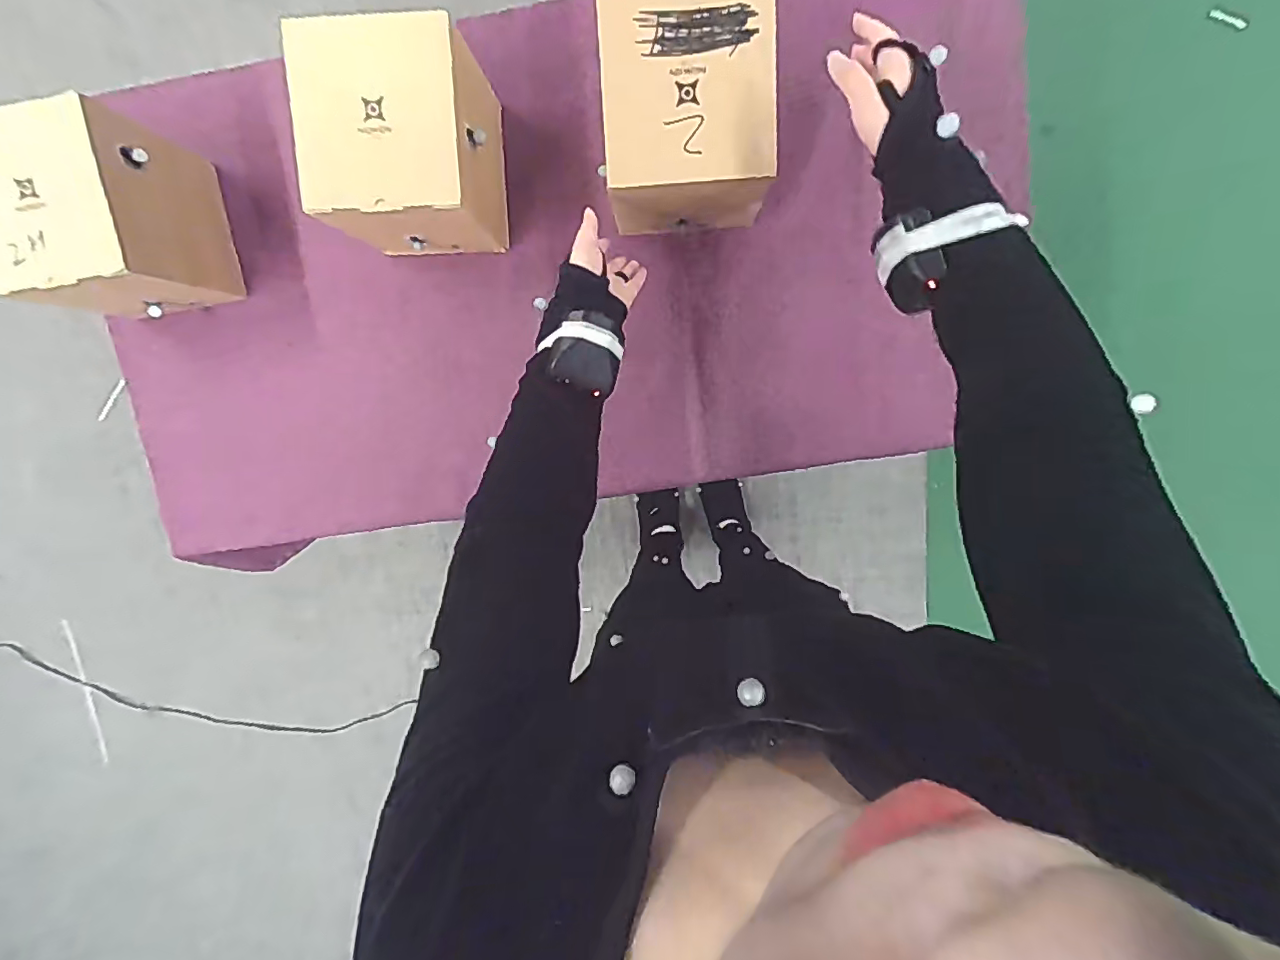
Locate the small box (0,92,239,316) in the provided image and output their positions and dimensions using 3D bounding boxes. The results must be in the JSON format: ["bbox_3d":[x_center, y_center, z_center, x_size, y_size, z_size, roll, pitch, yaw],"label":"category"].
[{"bbox_3d":[-0.621,-0.303,0.631,0.168,0.176,0.179,-8,99,4],"label":"small box"}]

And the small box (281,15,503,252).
[{"bbox_3d":[-0.260,-0.369,0.608,0.168,0.176,0.179,0,100,3],"label":"small box"}]
